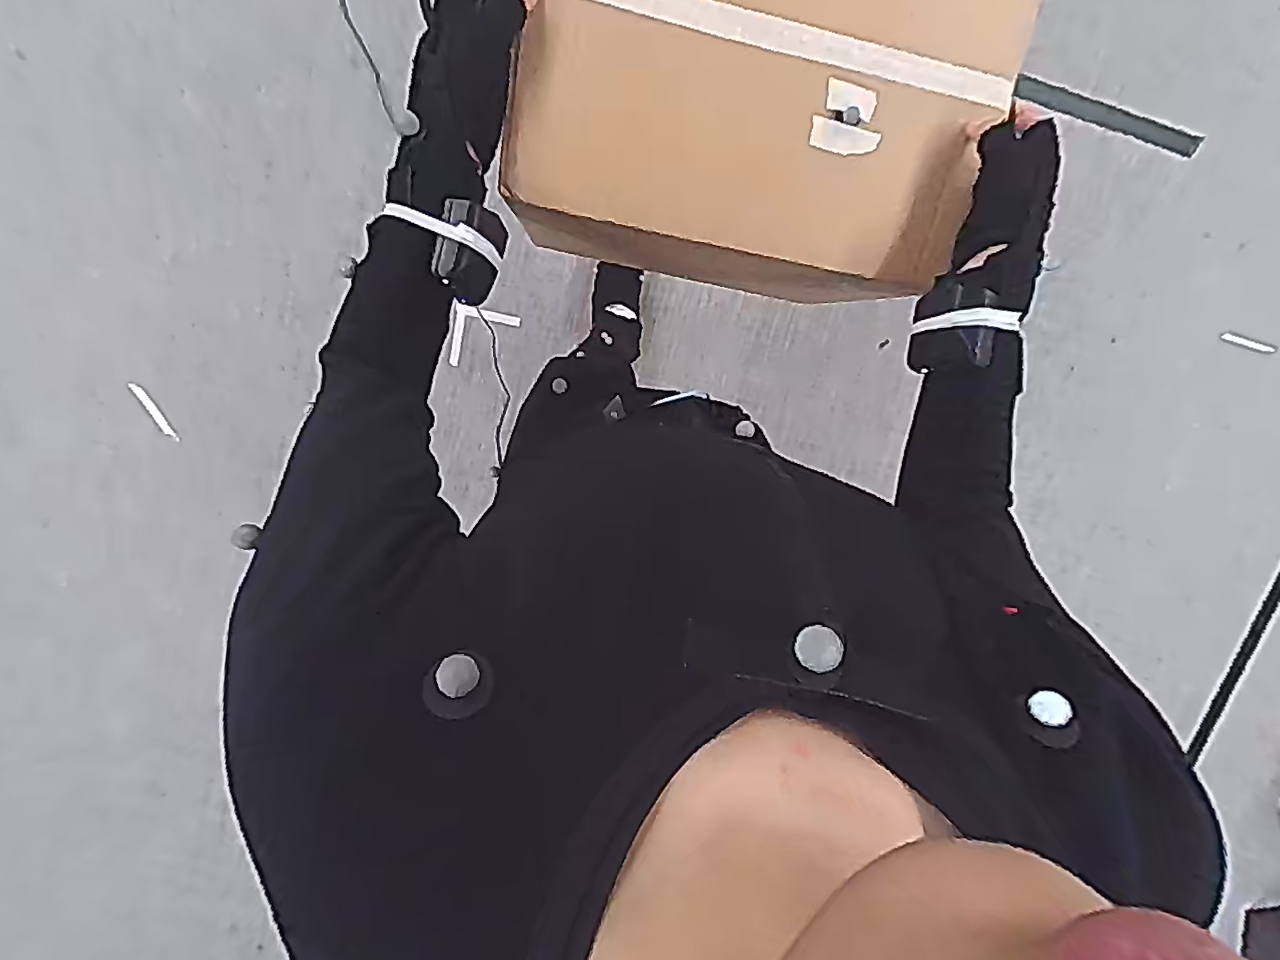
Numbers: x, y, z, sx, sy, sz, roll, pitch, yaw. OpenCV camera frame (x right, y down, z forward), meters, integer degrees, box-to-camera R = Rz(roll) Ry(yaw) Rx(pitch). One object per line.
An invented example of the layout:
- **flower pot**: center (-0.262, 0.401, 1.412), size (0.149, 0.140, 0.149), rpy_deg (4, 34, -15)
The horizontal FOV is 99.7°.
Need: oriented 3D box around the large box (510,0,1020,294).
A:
- **large box**: center (0.091, -0.399, 0.580), size (0.408, 0.320, 0.320), rpy_deg (8, 106, -9)
